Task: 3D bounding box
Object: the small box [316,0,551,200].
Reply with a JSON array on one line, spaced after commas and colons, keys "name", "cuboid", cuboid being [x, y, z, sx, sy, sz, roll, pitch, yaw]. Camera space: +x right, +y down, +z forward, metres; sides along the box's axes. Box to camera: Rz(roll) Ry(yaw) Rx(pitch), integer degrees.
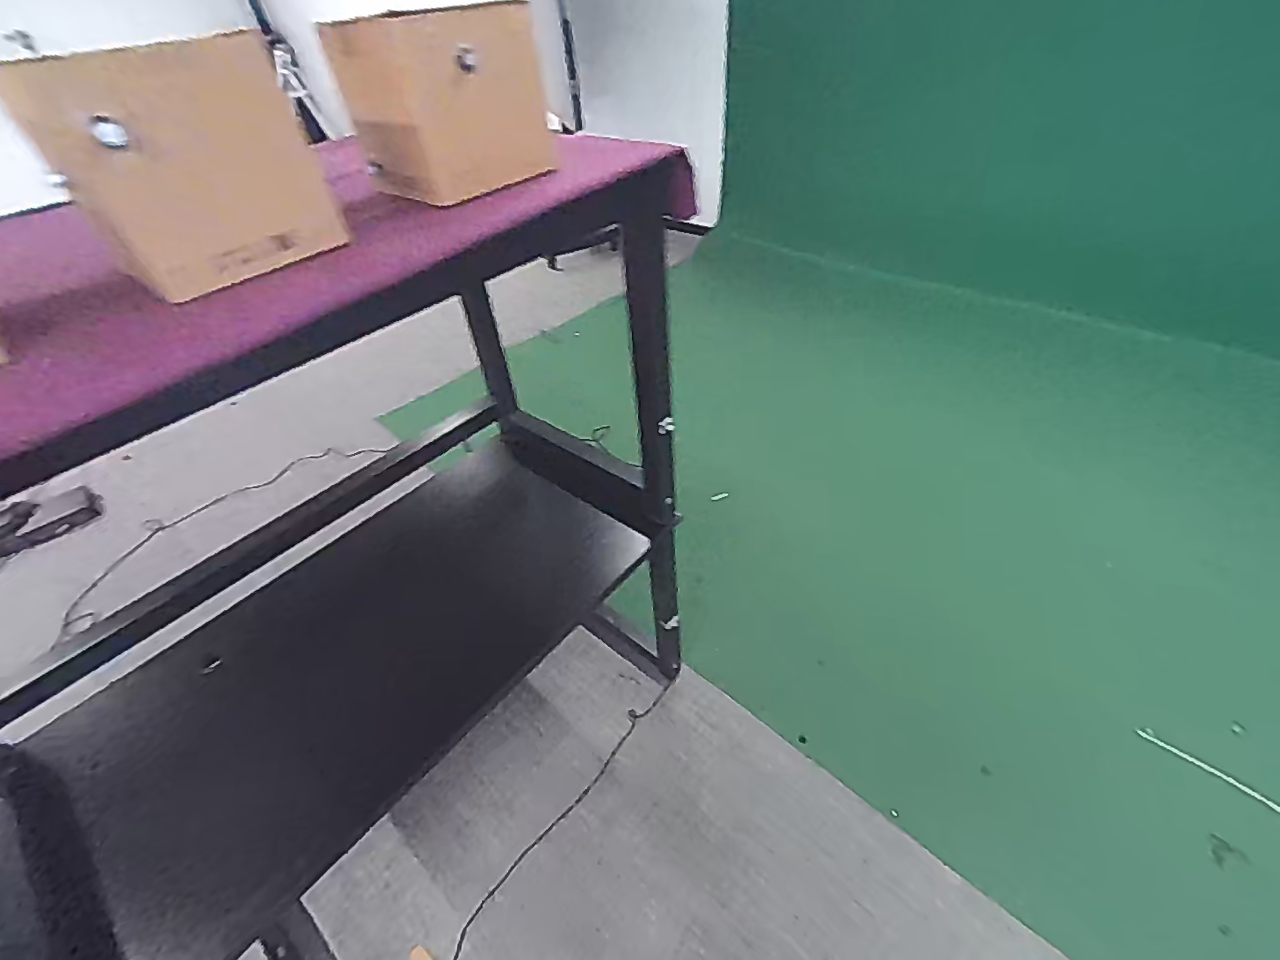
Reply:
[{"name": "small box", "cuboid": [-0.229, -0.448, 0.639, 0.168, 0.176, 0.179, 28, 52, 32]}]
